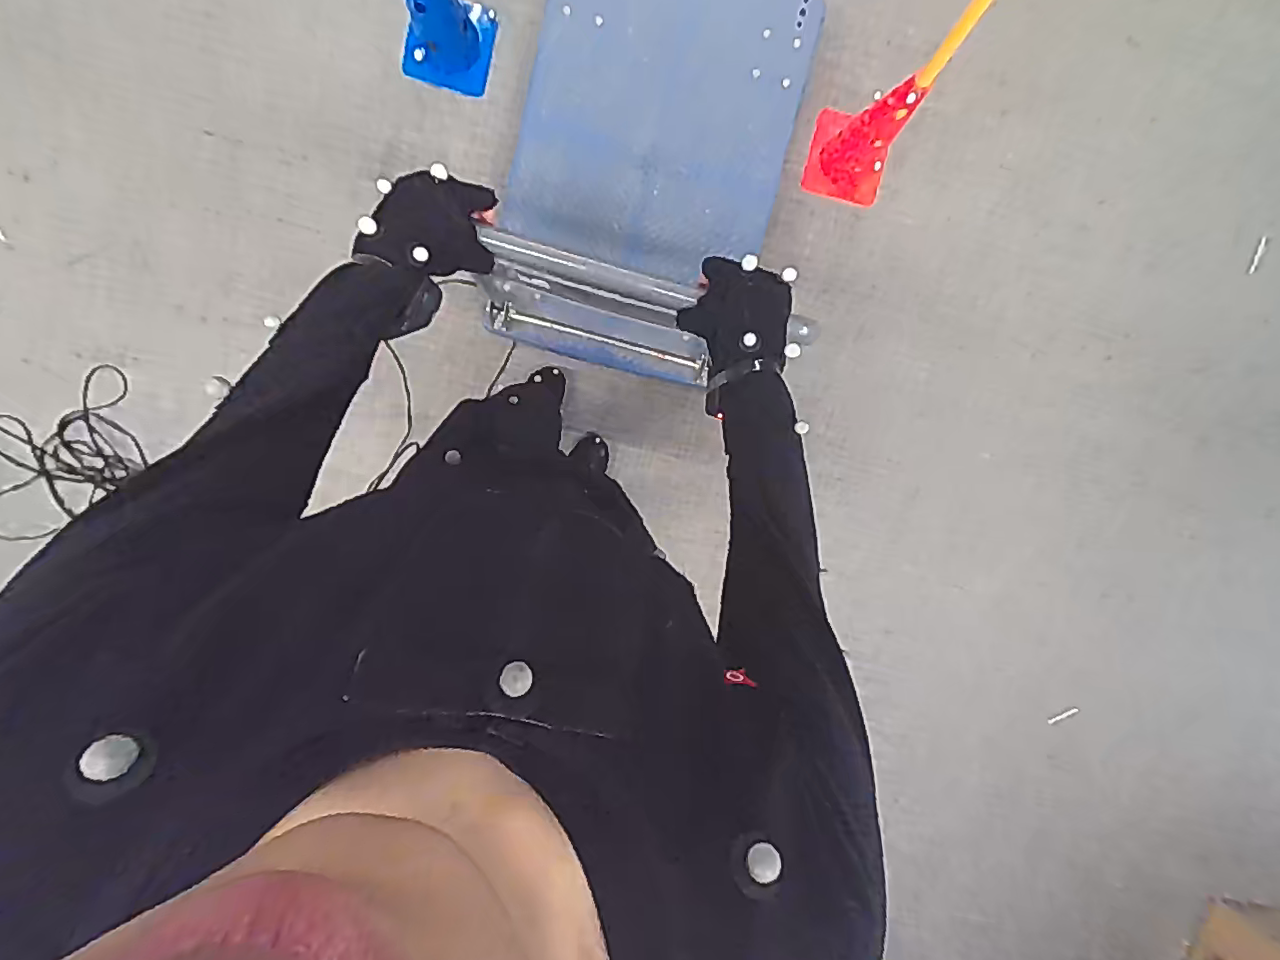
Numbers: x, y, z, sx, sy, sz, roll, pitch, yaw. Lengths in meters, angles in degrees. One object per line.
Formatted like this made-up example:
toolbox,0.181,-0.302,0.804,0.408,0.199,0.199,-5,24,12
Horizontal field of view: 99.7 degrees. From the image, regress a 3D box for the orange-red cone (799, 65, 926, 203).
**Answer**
orange-red cone,0.527,-0.807,1.219,0.199,0.360,0.198,14,97,-4
